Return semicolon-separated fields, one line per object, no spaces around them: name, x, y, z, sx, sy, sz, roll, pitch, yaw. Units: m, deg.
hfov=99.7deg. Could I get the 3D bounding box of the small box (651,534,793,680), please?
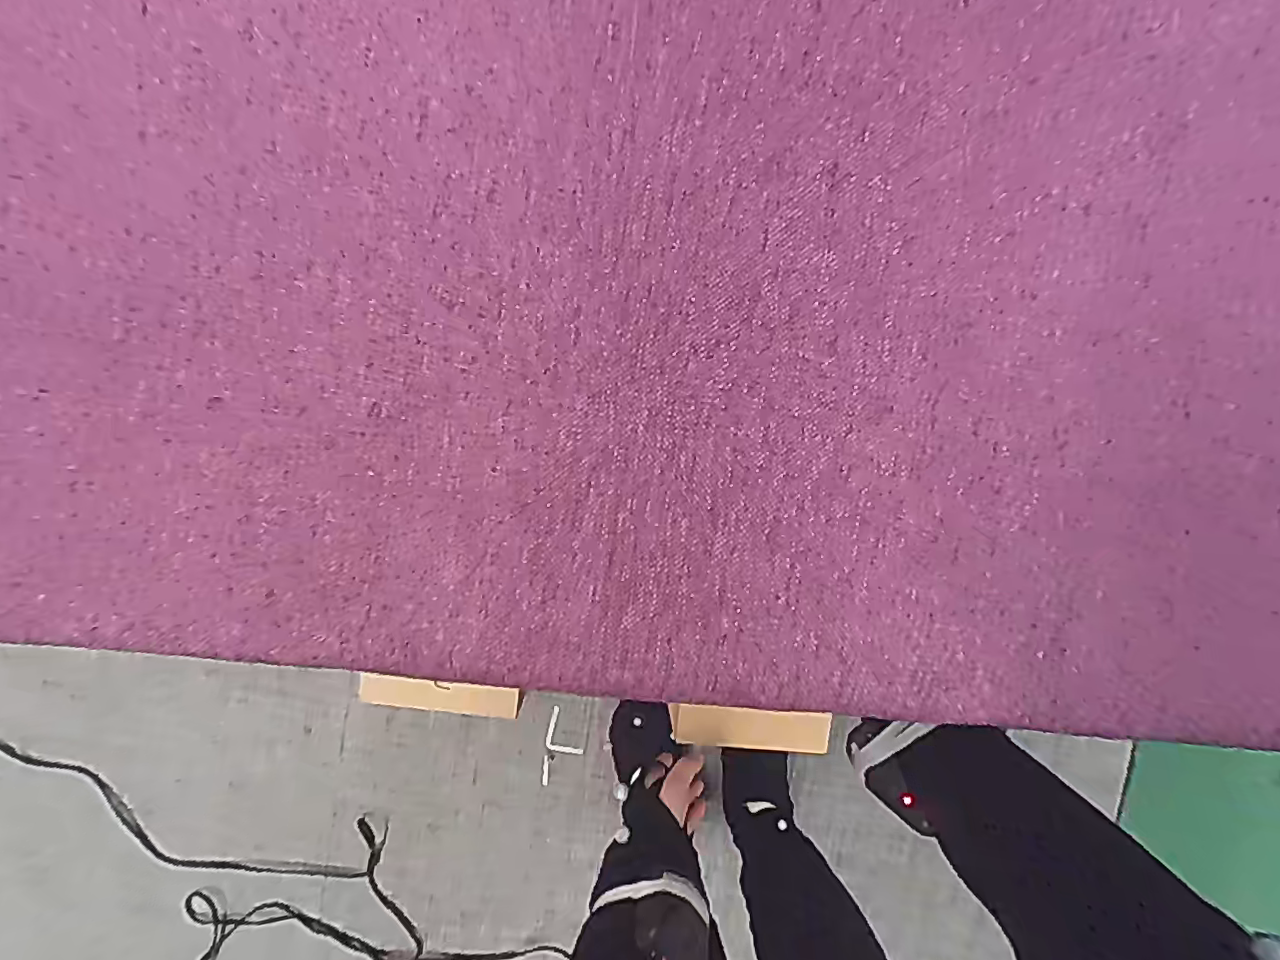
small box;0.112;0.180;0.820;0.179;0.176;0.168;7;94;-2
